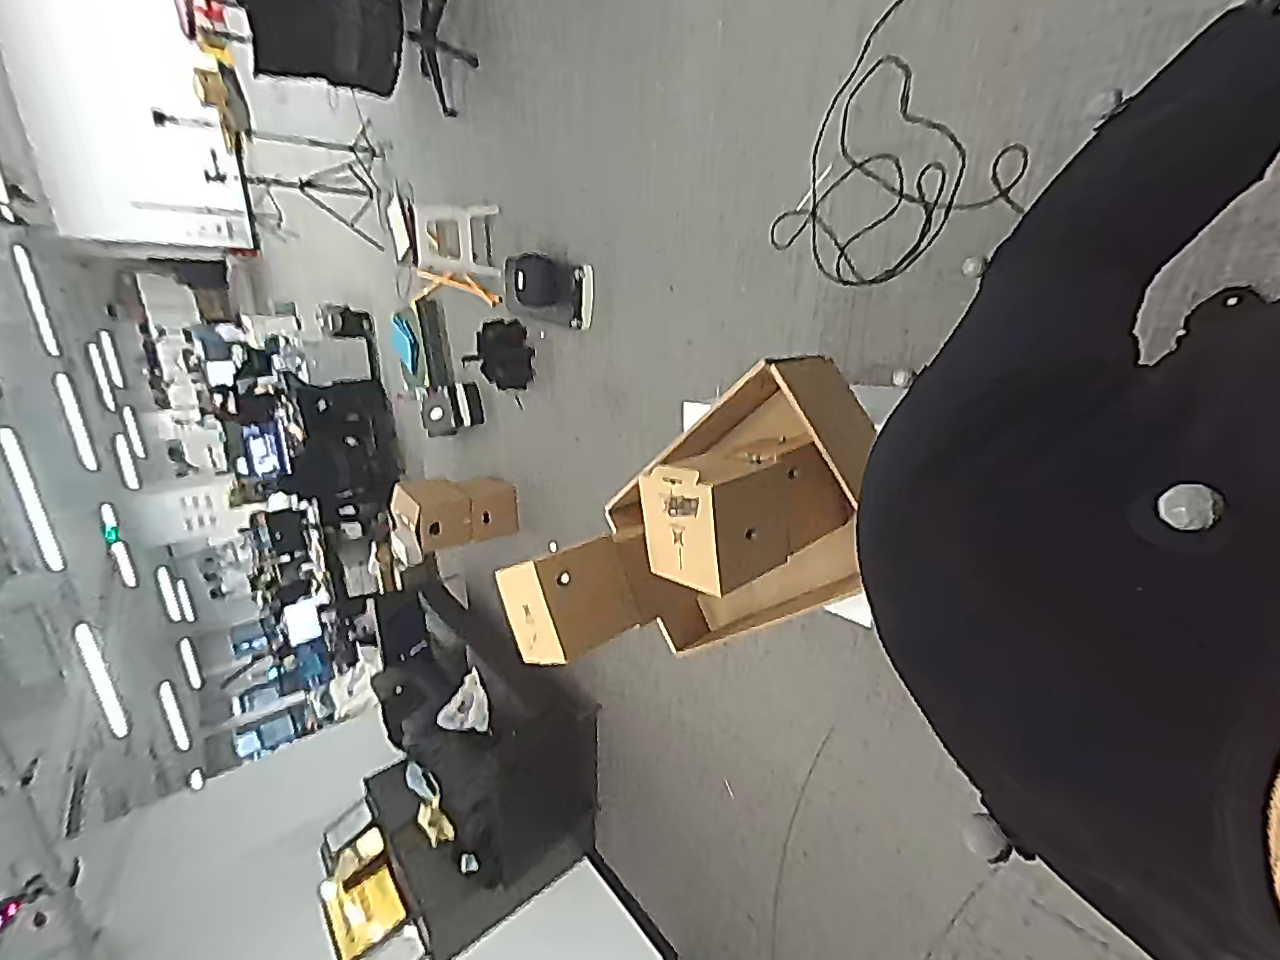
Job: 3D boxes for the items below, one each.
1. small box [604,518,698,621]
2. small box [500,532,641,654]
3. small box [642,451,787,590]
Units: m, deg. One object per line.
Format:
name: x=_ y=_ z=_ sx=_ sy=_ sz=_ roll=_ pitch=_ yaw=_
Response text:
small box: x=-0.011 y=0.178 z=1.111 sx=0.179 sy=0.176 sz=0.168 roll=-17 pitch=91 yaw=50
small box: x=-0.128 y=0.203 z=0.996 sx=0.168 sy=0.176 sz=0.179 roll=-23 pitch=86 yaw=51
small box: x=0.127 y=0.054 z=0.898 sx=0.168 sy=0.176 sz=0.179 roll=11 pitch=113 yaw=50
